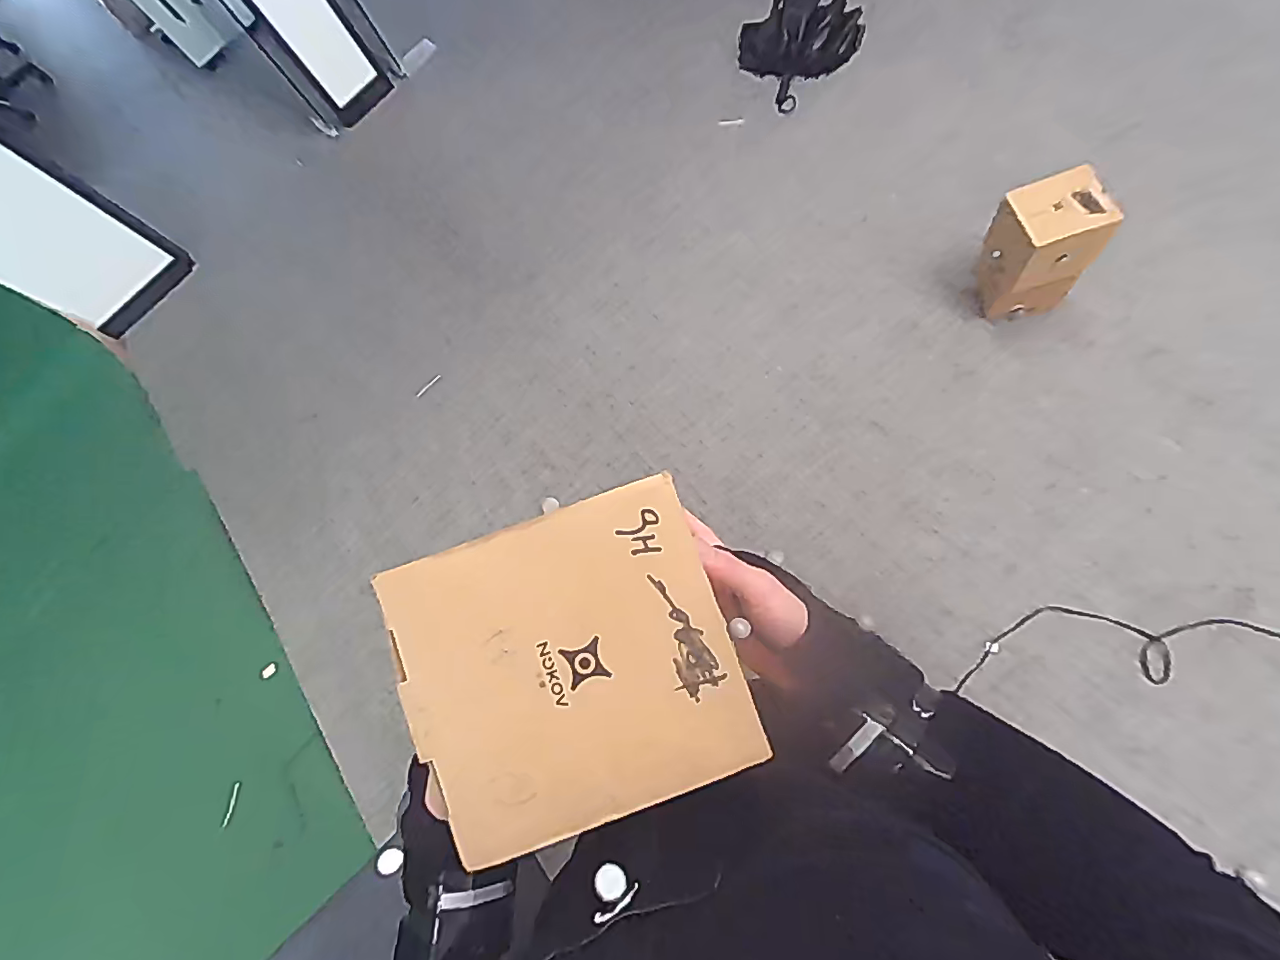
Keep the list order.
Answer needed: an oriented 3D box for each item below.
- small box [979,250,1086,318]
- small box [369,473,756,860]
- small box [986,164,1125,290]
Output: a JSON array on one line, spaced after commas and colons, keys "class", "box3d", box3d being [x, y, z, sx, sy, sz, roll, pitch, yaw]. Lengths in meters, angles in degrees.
[{"class": "small box", "box3d": [1.005, -0.548, 1.402, 0.168, 0.176, 0.179, -4, 72, 16]}, {"class": "small box", "box3d": [-0.041, 0.104, 0.372, 0.179, 0.176, 0.168, -19, 87, 0]}, {"class": "small box", "box3d": [0.945, -0.575, 1.248, 0.179, 0.176, 0.168, -16, 68, 12]}]
